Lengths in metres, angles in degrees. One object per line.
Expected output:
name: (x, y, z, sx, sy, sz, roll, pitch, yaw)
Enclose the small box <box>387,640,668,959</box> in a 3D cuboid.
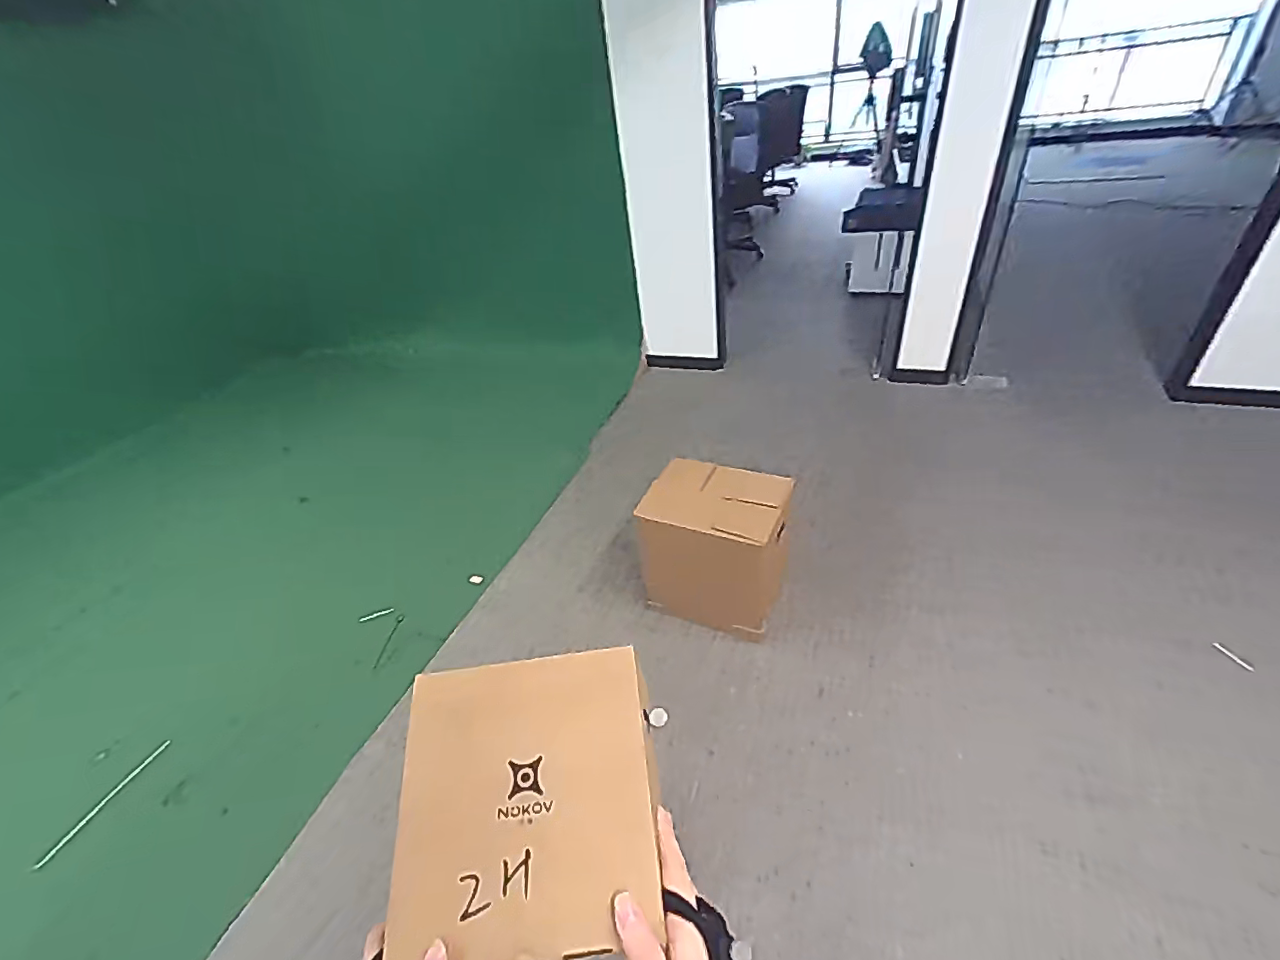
small box: (-0.069, 0.246, 0.428, 0.168, 0.176, 0.179, -7, 55, 1)
